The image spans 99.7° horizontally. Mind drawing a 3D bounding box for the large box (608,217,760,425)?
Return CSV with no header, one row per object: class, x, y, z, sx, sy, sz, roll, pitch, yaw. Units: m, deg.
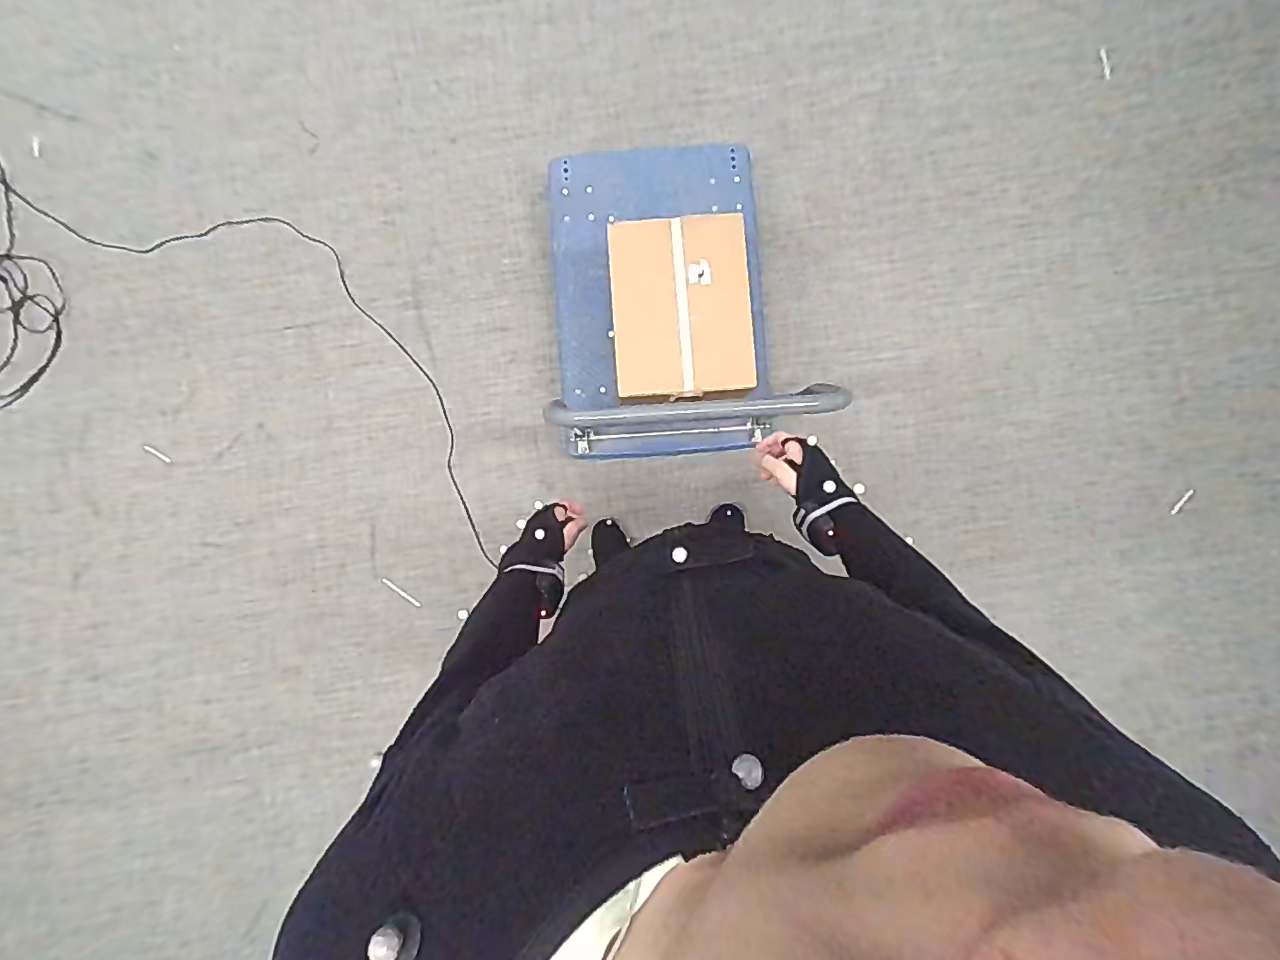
large box,0.097,-0.372,1.351,0.320,0.320,0.408,-4,85,-1
